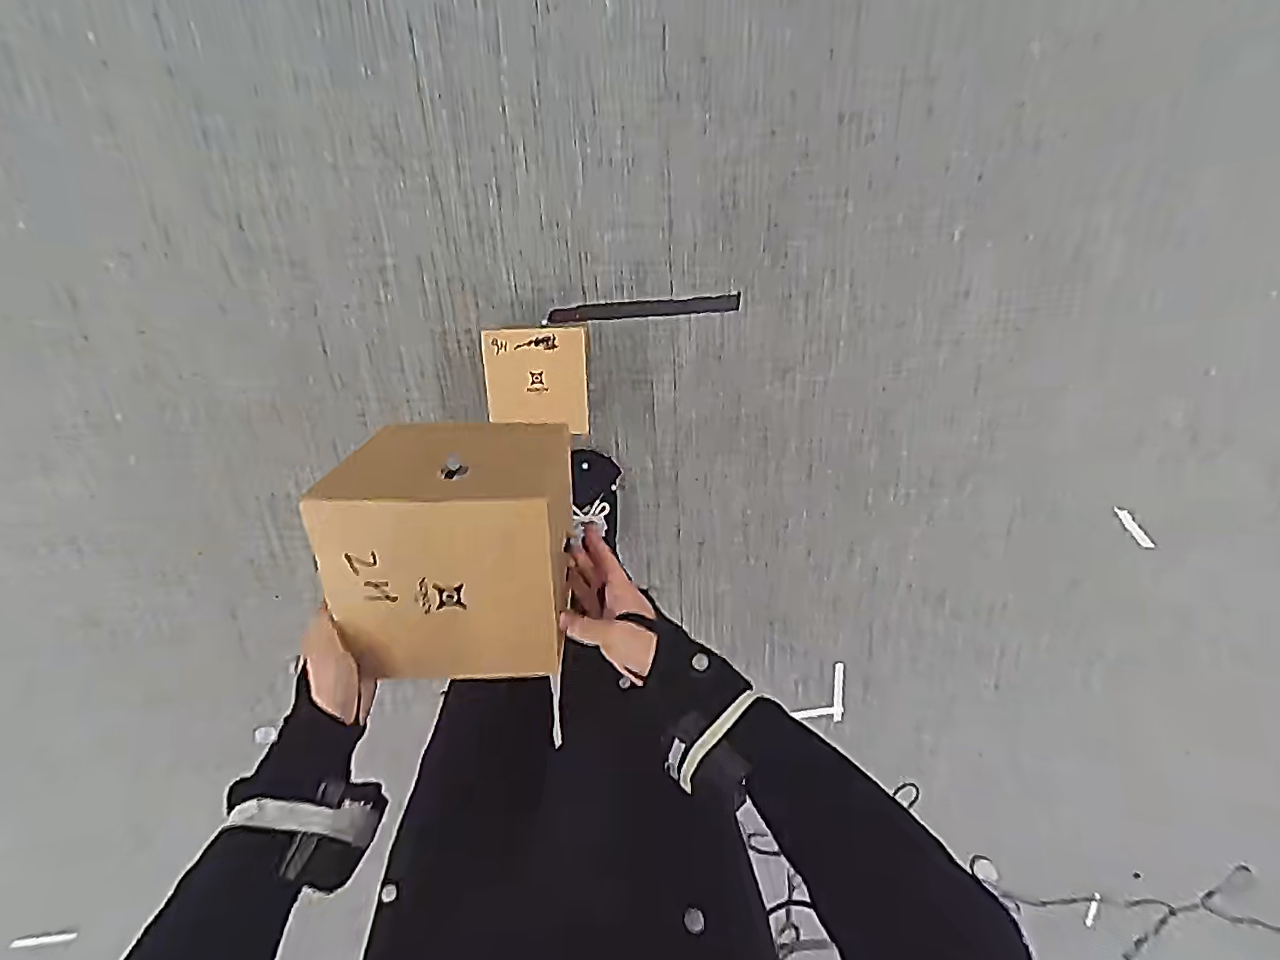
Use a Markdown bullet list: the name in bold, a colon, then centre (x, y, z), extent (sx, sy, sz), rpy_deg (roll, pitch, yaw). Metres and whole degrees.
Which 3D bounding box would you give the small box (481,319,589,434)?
- **small box**: centre (-0.175, -0.188, 0.955), extent (0.168, 0.176, 0.179), rpy_deg (-2, 110, -5)
